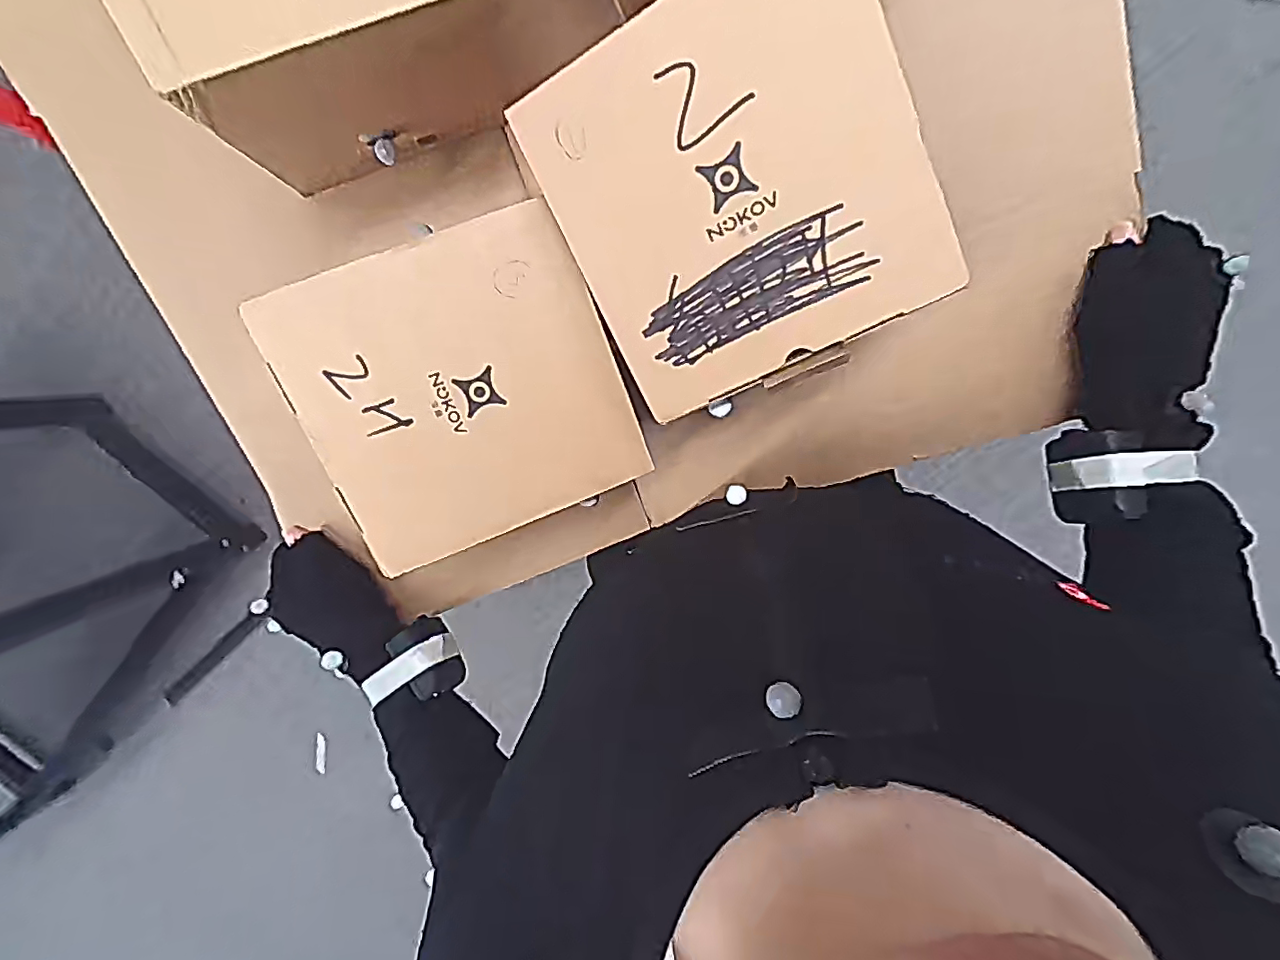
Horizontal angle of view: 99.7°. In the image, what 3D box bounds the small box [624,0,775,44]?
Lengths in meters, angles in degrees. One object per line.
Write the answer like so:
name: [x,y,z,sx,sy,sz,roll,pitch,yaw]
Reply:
small box: [0.043,-0.364,0.269,0.168,0.176,0.179,-15,105,16]
